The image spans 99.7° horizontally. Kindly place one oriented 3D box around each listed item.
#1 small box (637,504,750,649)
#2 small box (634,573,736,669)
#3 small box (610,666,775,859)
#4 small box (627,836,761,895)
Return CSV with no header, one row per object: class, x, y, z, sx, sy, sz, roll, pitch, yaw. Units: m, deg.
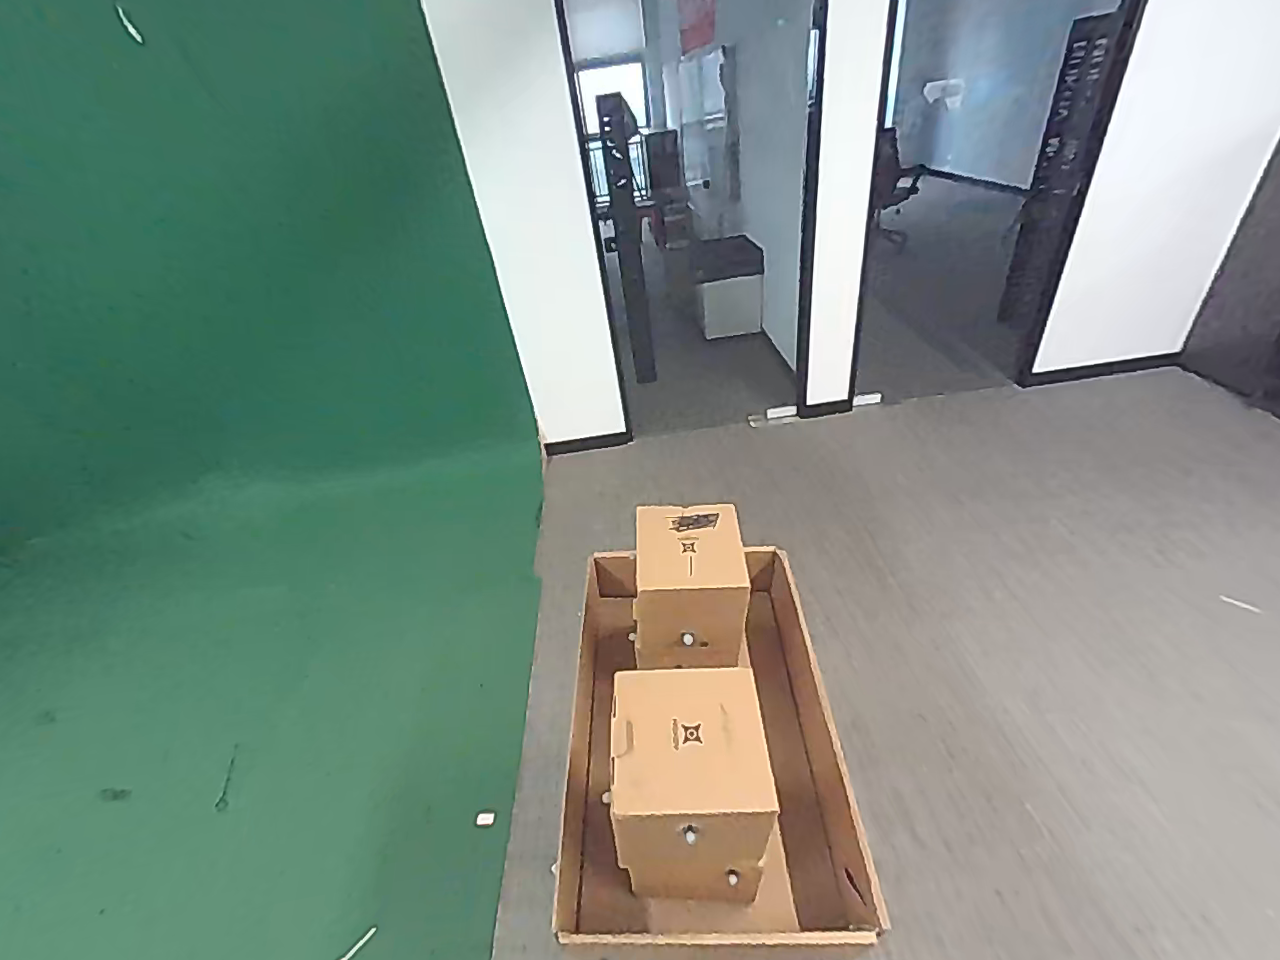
small box,0.079,0.158,0.893,0.168,0.176,0.179,-2,42,1
small box,0.083,0.279,1.003,0.179,0.176,0.168,-2,42,2
small box,0.057,0.352,0.673,0.179,0.176,0.168,-2,41,0
small box,0.072,0.473,0.779,0.179,0.176,0.168,1,39,3
